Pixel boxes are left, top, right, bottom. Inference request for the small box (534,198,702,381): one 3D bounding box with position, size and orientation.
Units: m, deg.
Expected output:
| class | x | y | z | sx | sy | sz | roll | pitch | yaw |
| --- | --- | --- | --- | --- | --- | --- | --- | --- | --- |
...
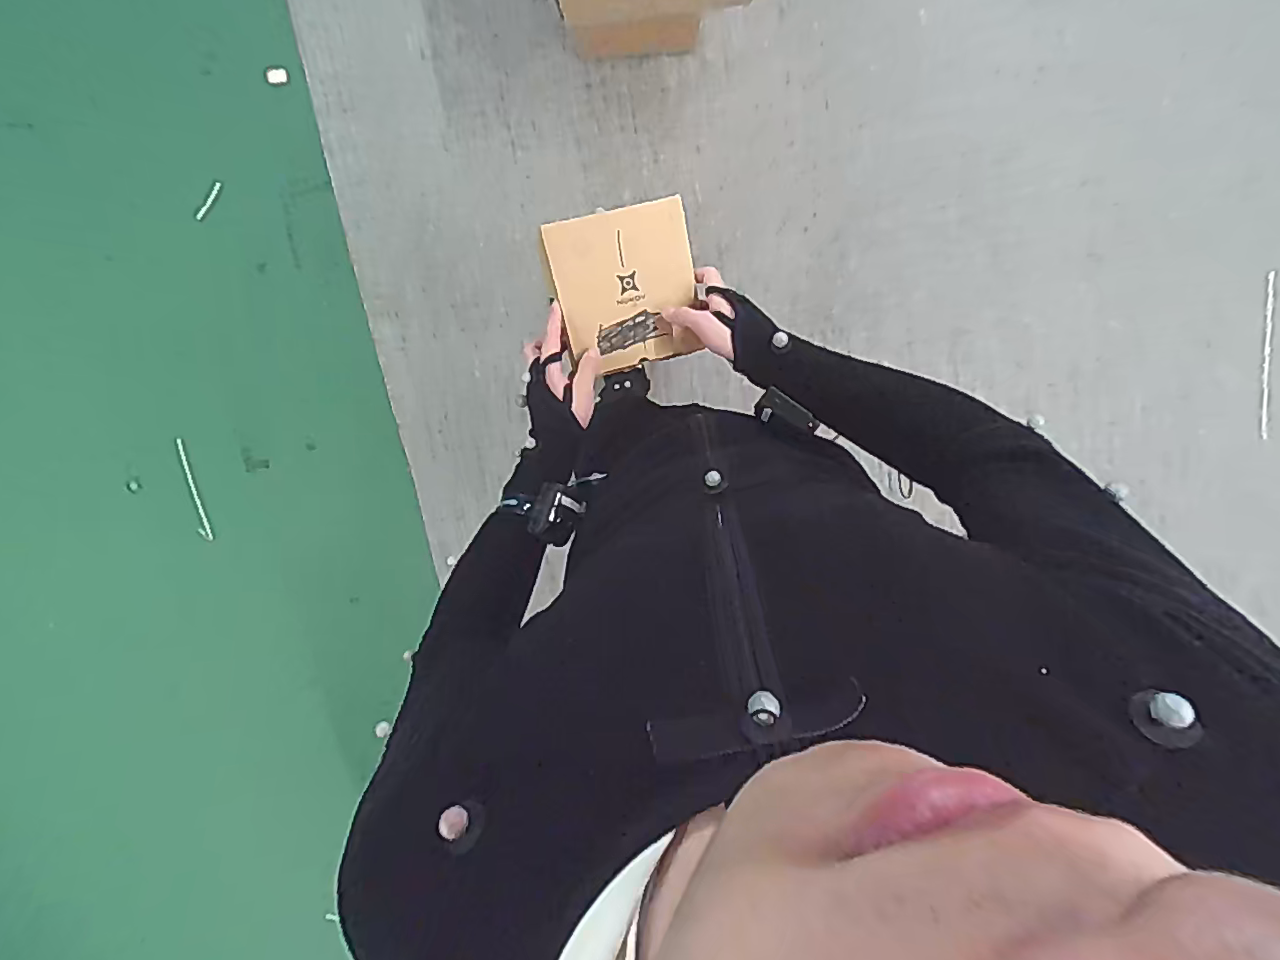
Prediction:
| class | x | y | z | sx | sy | sz | roll | pitch | yaw |
| --- | --- | --- | --- | --- | --- | --- | --- | --- | --- |
| small box | -0.034 | -0.240 | 0.696 | 0.168 | 0.176 | 0.179 | -16 | 109 | -7 |
